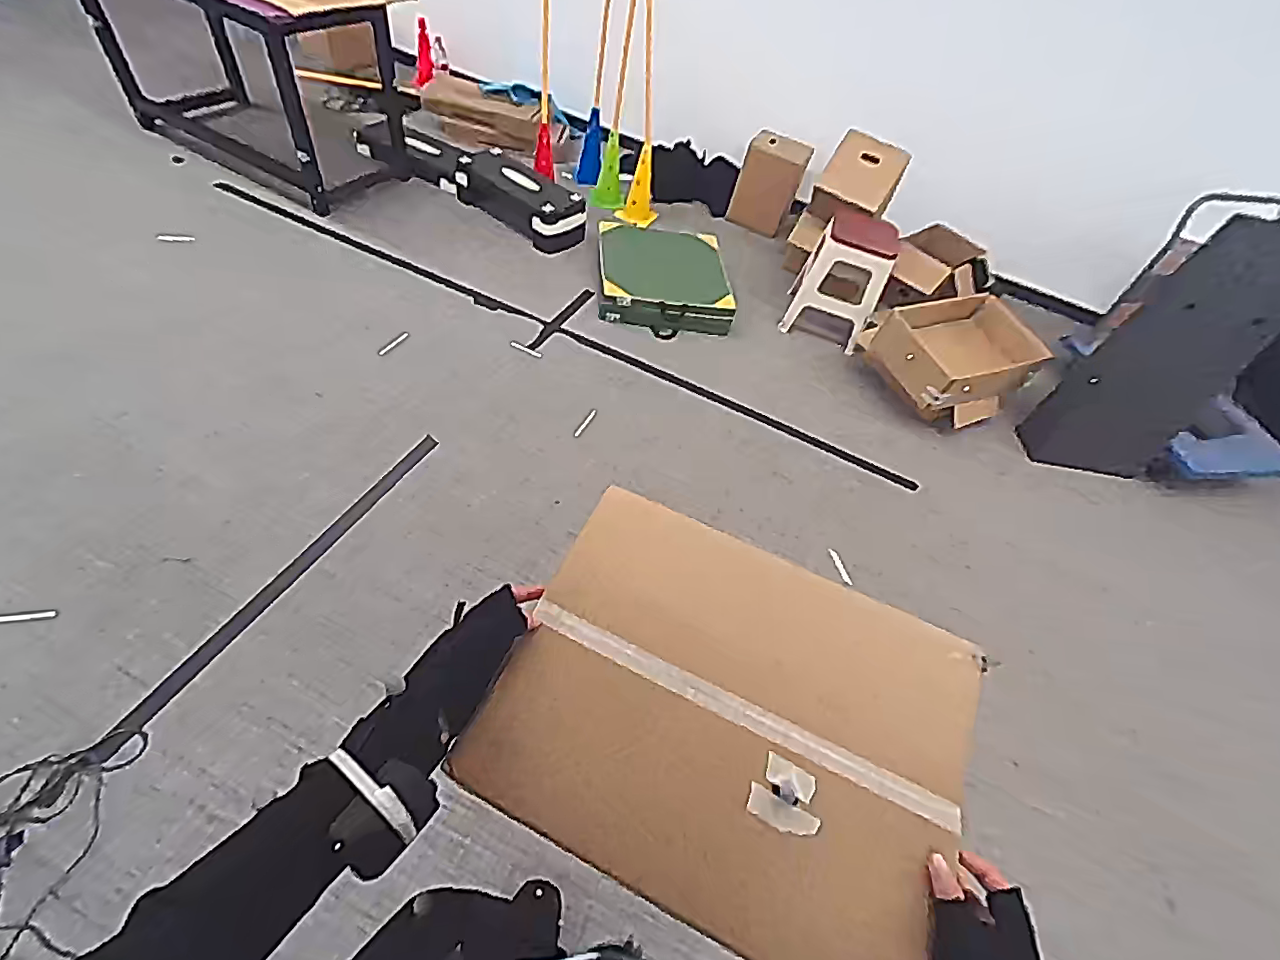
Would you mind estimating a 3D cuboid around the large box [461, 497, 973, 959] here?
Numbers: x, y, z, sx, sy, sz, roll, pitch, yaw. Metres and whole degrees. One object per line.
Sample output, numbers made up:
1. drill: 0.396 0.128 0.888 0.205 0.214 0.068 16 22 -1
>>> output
1. large box: 0.078 0.284 0.627 0.408 0.320 0.320 24 63 11
